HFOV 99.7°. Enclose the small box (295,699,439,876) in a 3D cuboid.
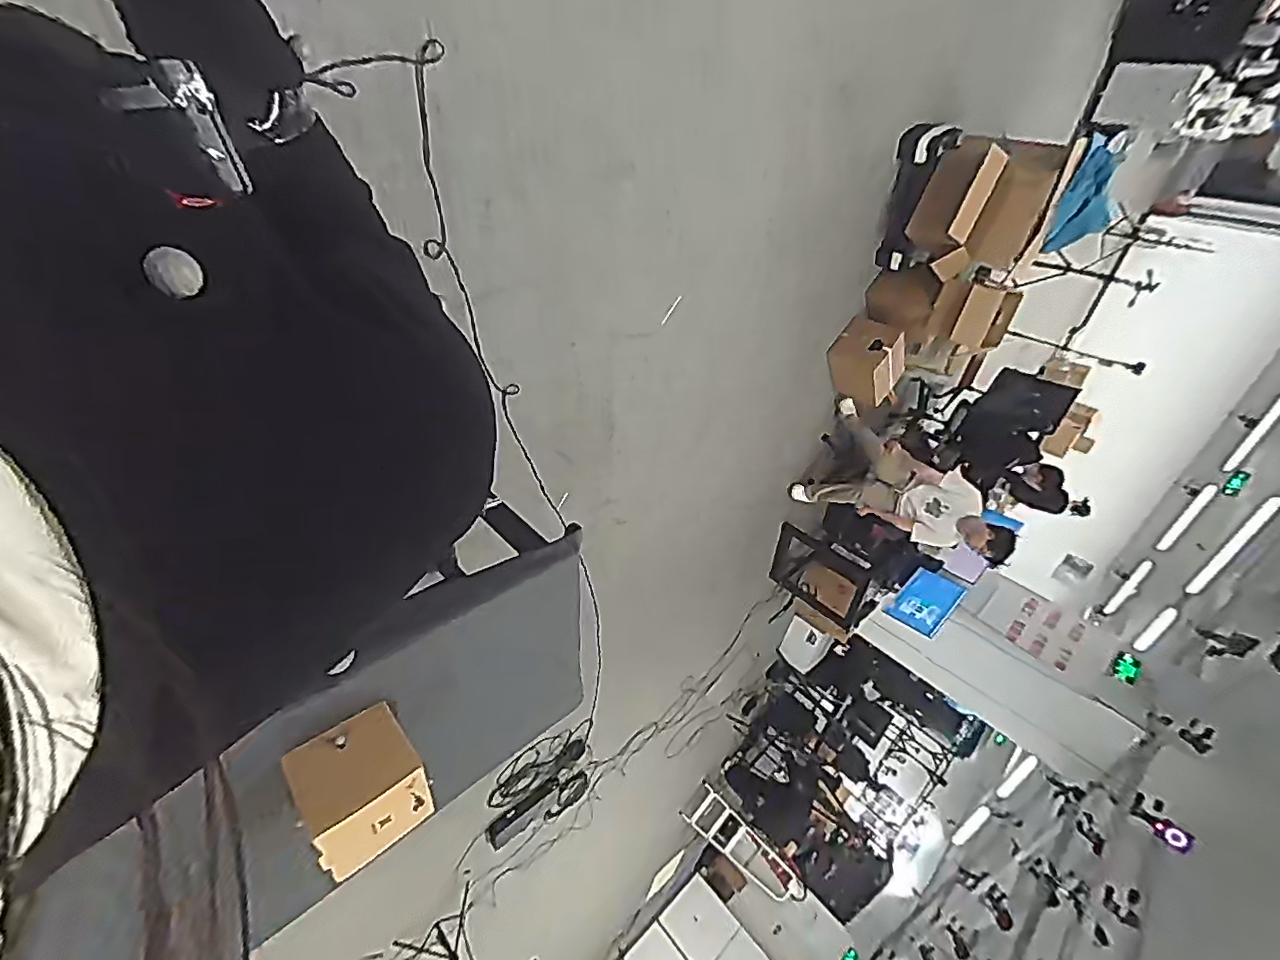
[{"bbox_3d":[-0.487,0.537,0.962,0.179,0.176,0.168,-25,136,-36],"label":"small box"}]
